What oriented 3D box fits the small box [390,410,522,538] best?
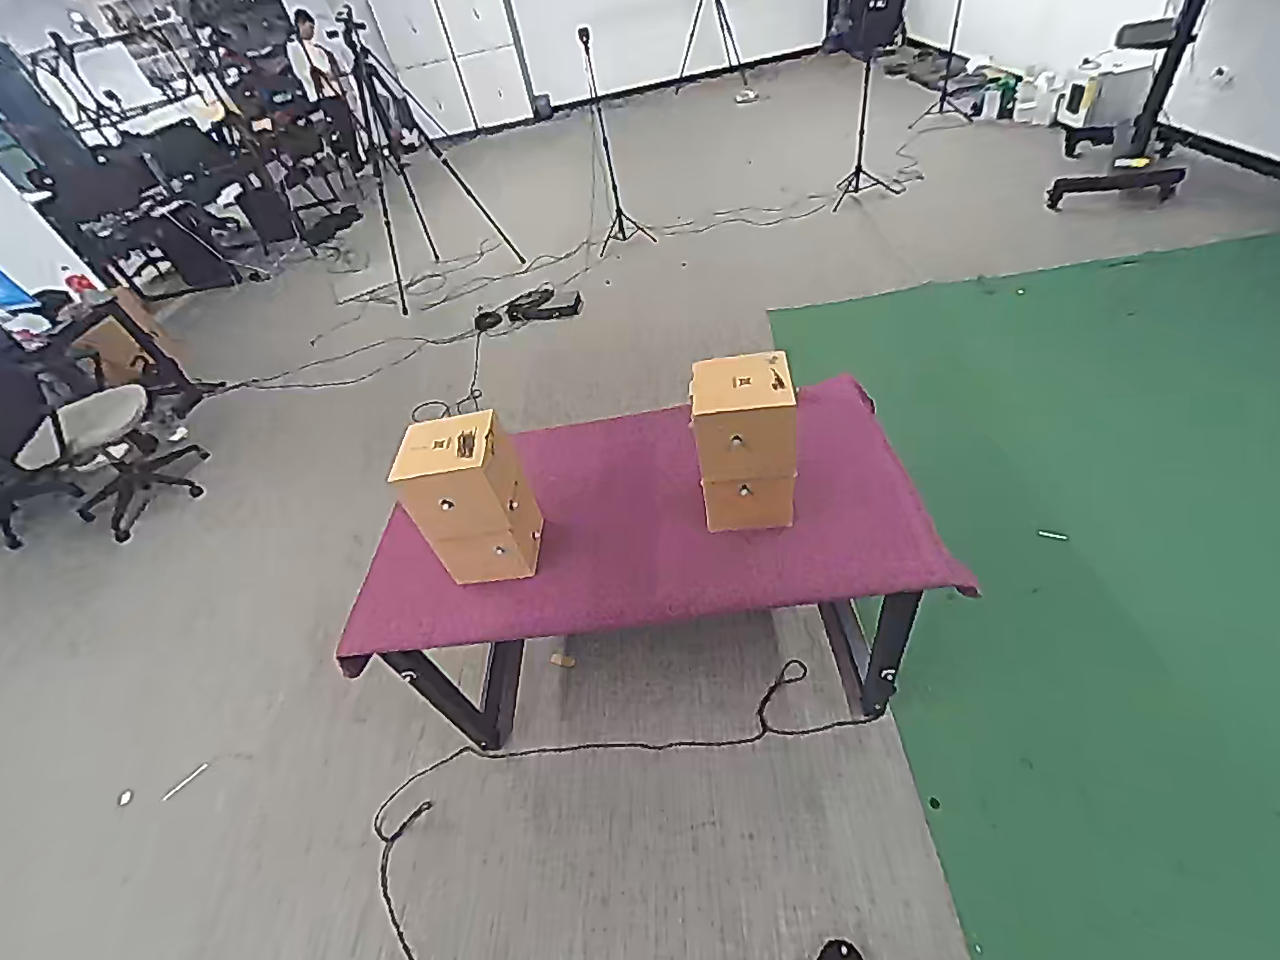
[{"bbox_3d":[-0.338,-0.008,1.038,0.179,0.176,0.168,-9,44,4],"label":"small box"}]

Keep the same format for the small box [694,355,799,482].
[{"bbox_3d":[0.201,-0.110,1.017,0.179,0.176,0.168,-5,45,11],"label":"small box"}]

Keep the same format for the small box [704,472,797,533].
[{"bbox_3d":[0.229,-0.003,1.139,0.179,0.176,0.168,-5,45,10],"label":"small box"}]
